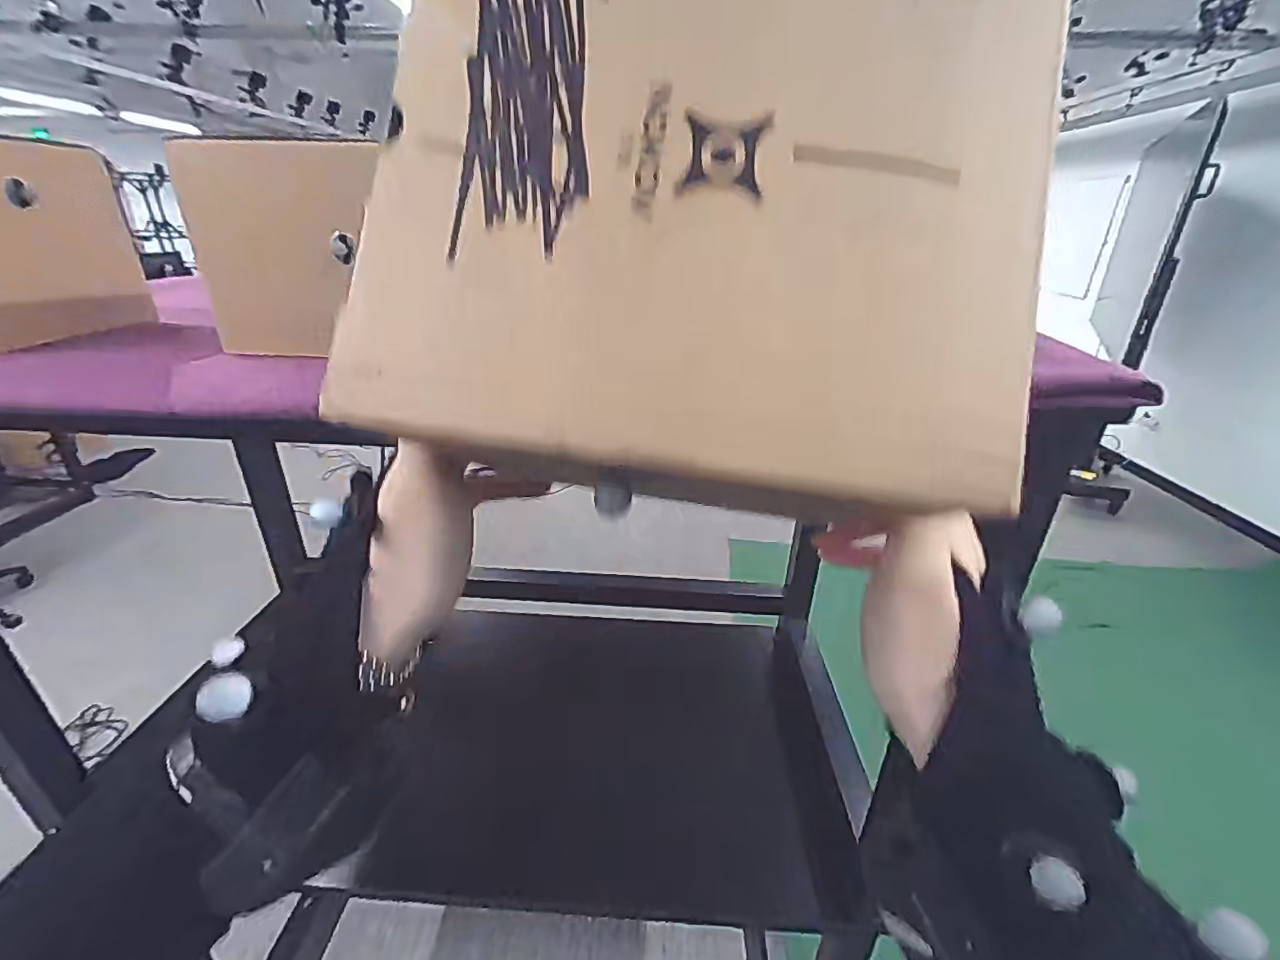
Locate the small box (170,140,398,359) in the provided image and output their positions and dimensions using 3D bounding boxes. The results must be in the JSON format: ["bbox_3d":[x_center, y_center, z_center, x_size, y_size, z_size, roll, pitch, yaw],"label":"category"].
[{"bbox_3d":[-0.273,-0.214,0.517,0.179,0.176,0.168,1,25,2],"label":"small box"}]

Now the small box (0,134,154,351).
[{"bbox_3d":[-0.615,-0.220,0.499,0.168,0.176,0.179,3,26,0],"label":"small box"}]

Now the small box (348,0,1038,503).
[{"bbox_3d":[0.022,-0.085,0.229,0.179,0.168,0.176,9,-5,6],"label":"small box"}]
